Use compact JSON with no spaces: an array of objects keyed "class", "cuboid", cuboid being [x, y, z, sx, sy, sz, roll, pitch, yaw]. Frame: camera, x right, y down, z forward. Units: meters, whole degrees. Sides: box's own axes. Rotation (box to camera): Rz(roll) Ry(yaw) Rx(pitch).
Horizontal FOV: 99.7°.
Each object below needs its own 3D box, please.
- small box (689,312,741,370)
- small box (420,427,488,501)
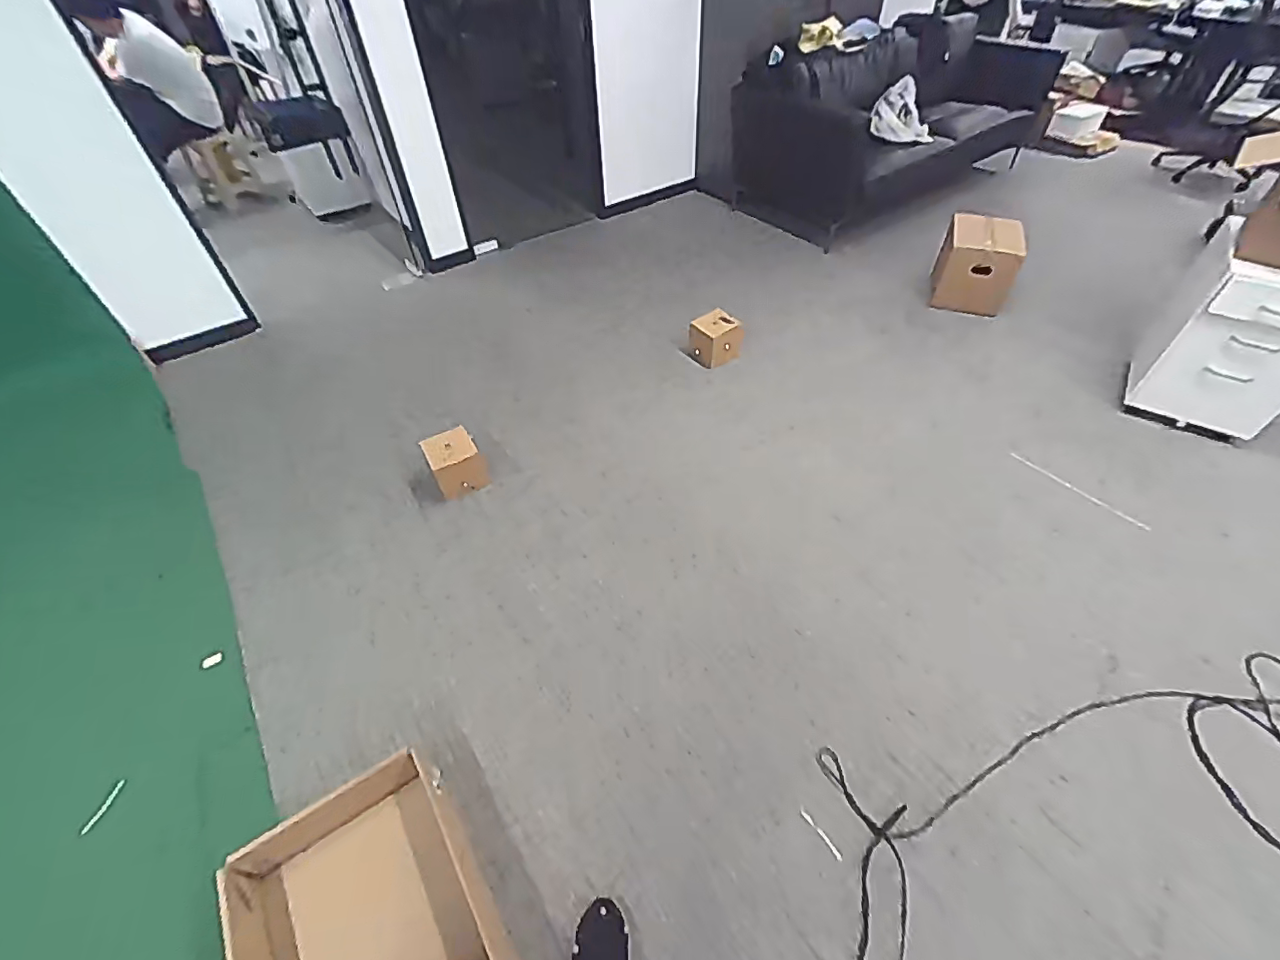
[{"class":"small box","cuboid":[0.337,-0.635,2.474,0.179,0.176,0.168,-29,53,-22]},{"class":"small box","cuboid":[-0.673,-0.057,1.964,0.168,0.176,0.179,-25,51,-19]}]
